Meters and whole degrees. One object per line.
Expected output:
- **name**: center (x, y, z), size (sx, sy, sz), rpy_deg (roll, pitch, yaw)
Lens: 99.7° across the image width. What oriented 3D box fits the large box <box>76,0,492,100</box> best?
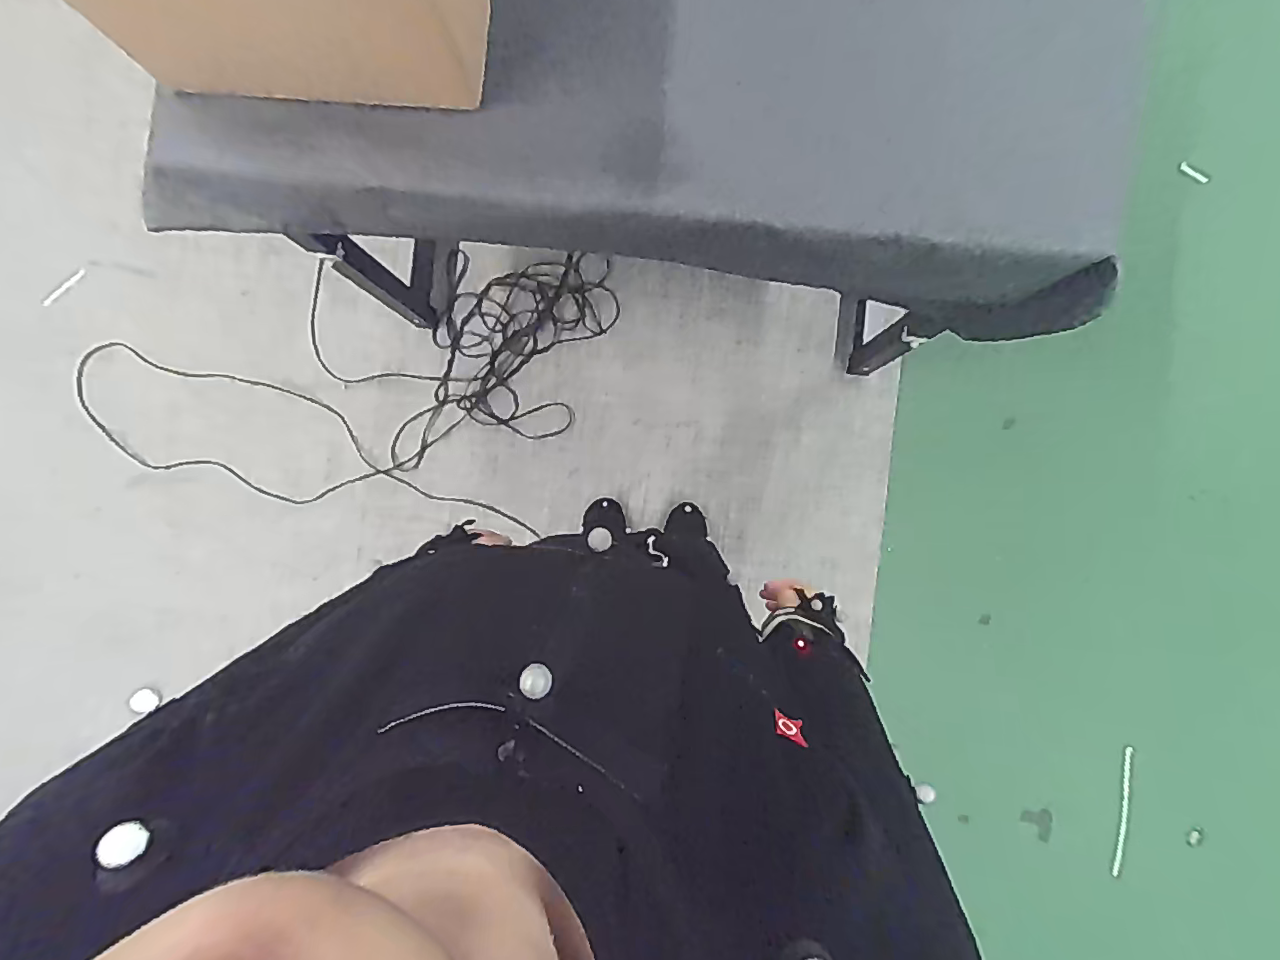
- **large box**: center (-0.382, -0.636, 0.534), size (0.408, 0.320, 0.320), rpy_deg (4, 89, 0)
